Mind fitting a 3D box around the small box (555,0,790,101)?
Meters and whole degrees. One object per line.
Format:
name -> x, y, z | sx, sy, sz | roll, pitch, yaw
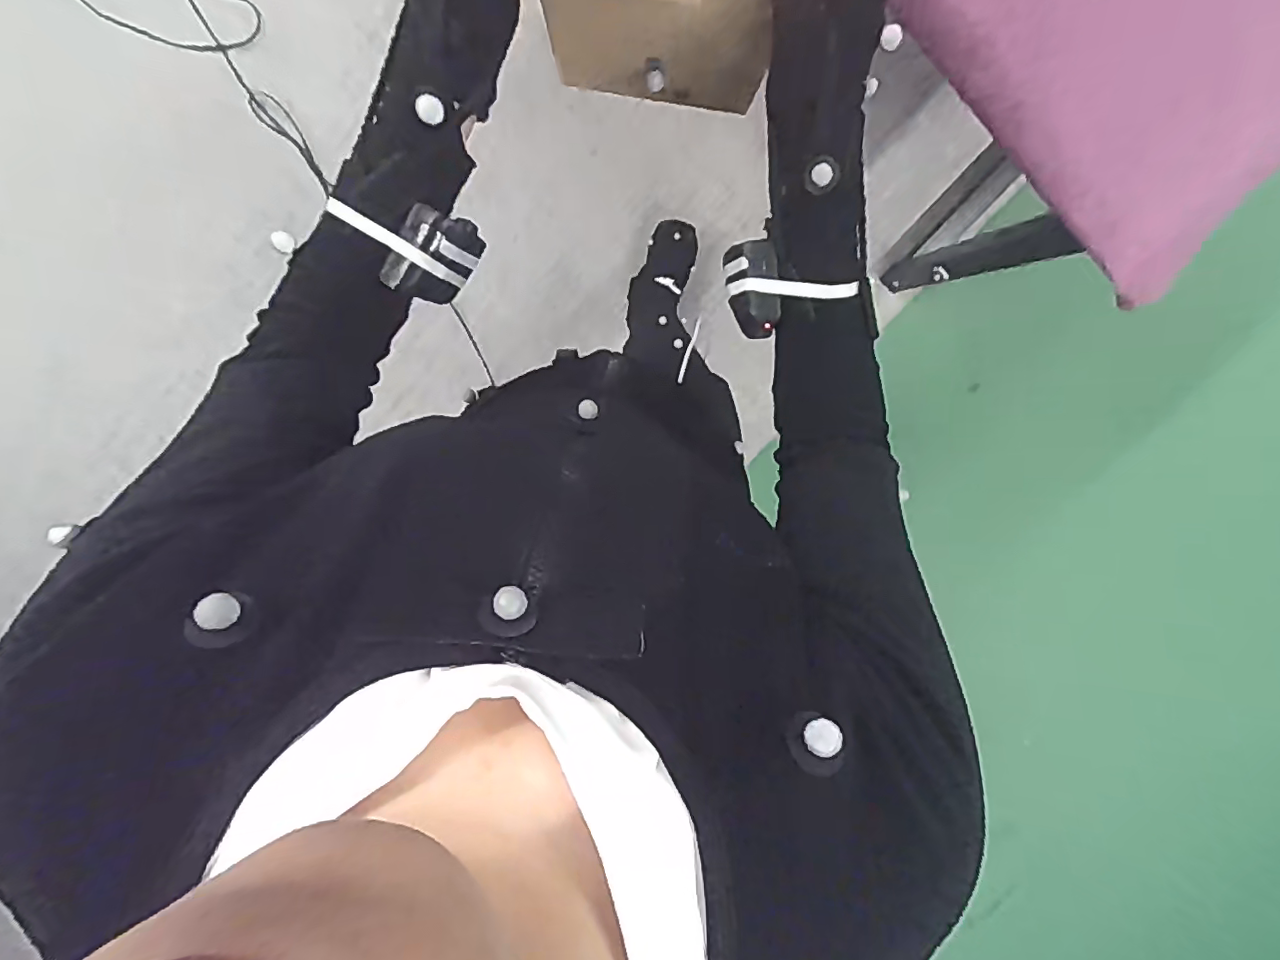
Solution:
small box -> 0.027, -0.410, 0.375 | 0.168, 0.176, 0.179 | 8, 102, -2
